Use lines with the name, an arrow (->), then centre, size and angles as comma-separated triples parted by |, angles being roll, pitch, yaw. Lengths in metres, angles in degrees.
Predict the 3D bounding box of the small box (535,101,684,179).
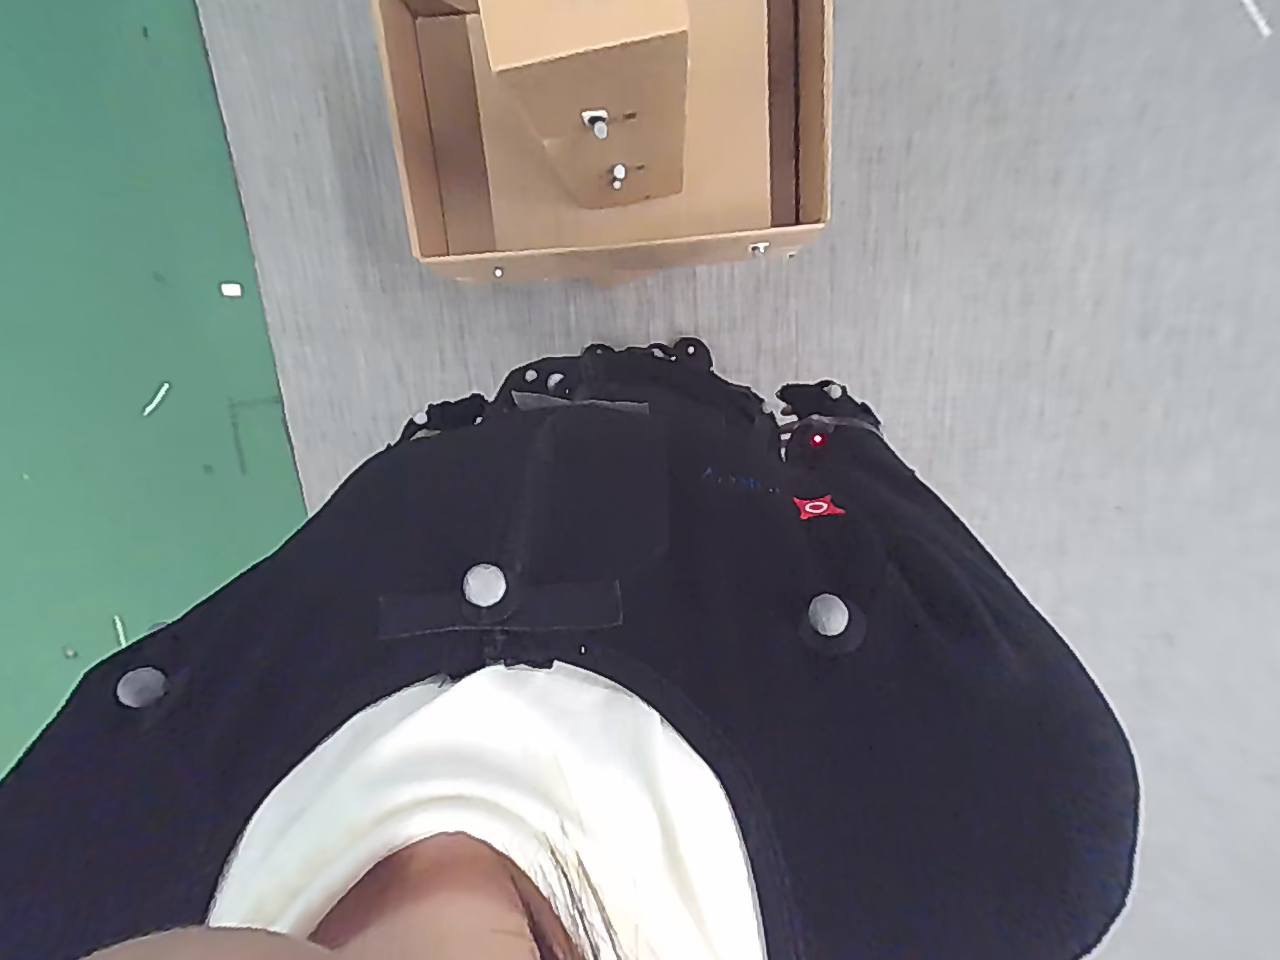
small box -> -0.041, -0.490, 0.647 | 0.168, 0.176, 0.179 | -7, 104, 5

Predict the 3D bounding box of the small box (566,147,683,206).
small box -> -0.029, -0.534, 0.805 | 0.168, 0.176, 0.179 | -8, 103, 7

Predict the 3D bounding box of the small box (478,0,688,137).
small box -> -0.050, -0.450, 0.491 | 0.168, 0.176, 0.179 | -8, 104, 7
